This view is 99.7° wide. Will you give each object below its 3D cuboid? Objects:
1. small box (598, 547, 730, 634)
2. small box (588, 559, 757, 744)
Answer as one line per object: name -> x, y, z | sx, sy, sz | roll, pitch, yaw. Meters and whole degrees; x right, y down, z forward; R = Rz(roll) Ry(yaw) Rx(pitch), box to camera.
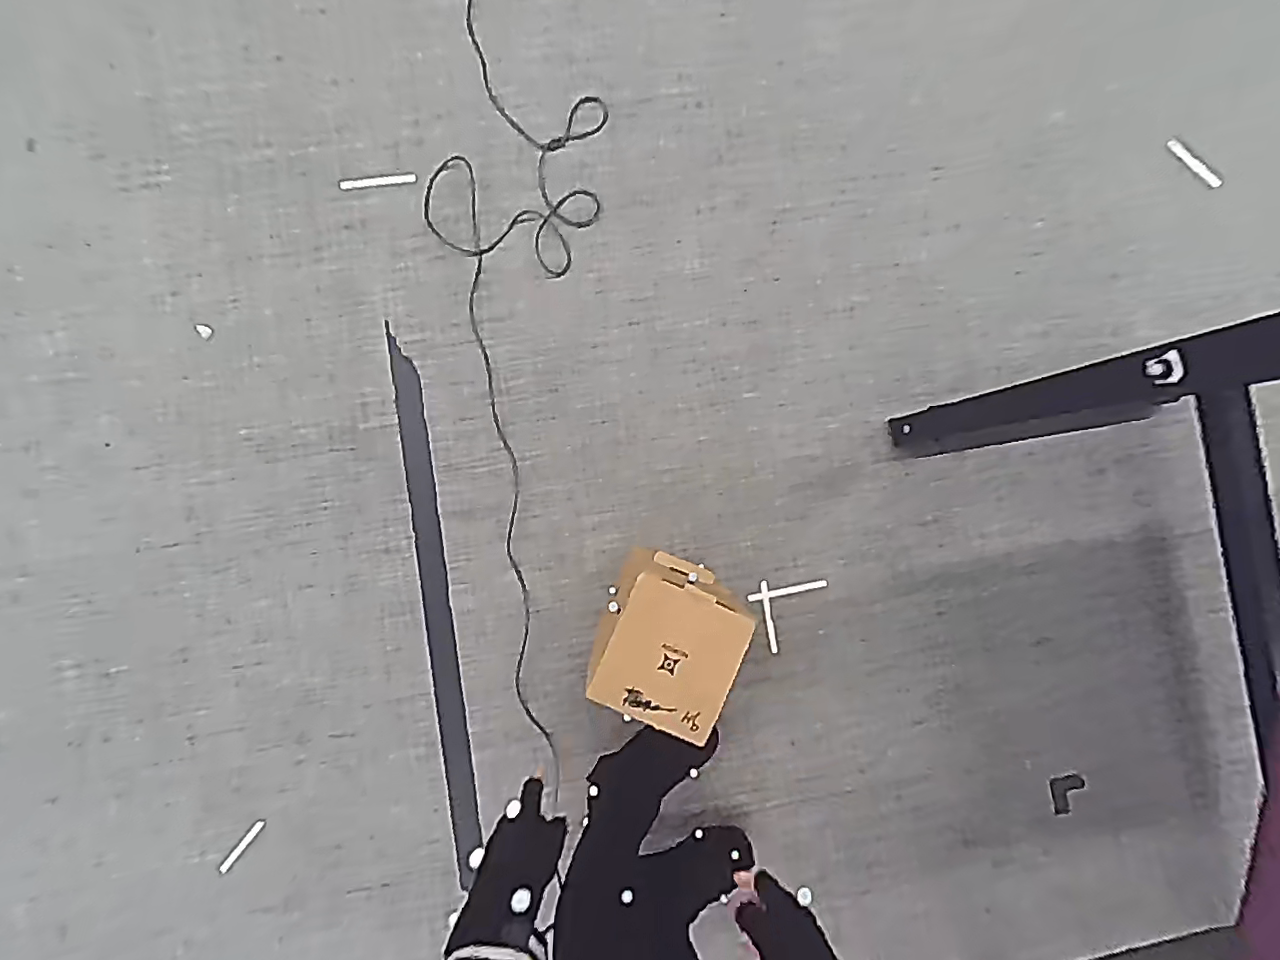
small box -> 0.031, 0.224, 0.918 | 0.168, 0.176, 0.179 | 22, 87, -2
small box -> 0.036, 0.222, 0.755 | 0.168, 0.176, 0.179 | 24, 86, -2
